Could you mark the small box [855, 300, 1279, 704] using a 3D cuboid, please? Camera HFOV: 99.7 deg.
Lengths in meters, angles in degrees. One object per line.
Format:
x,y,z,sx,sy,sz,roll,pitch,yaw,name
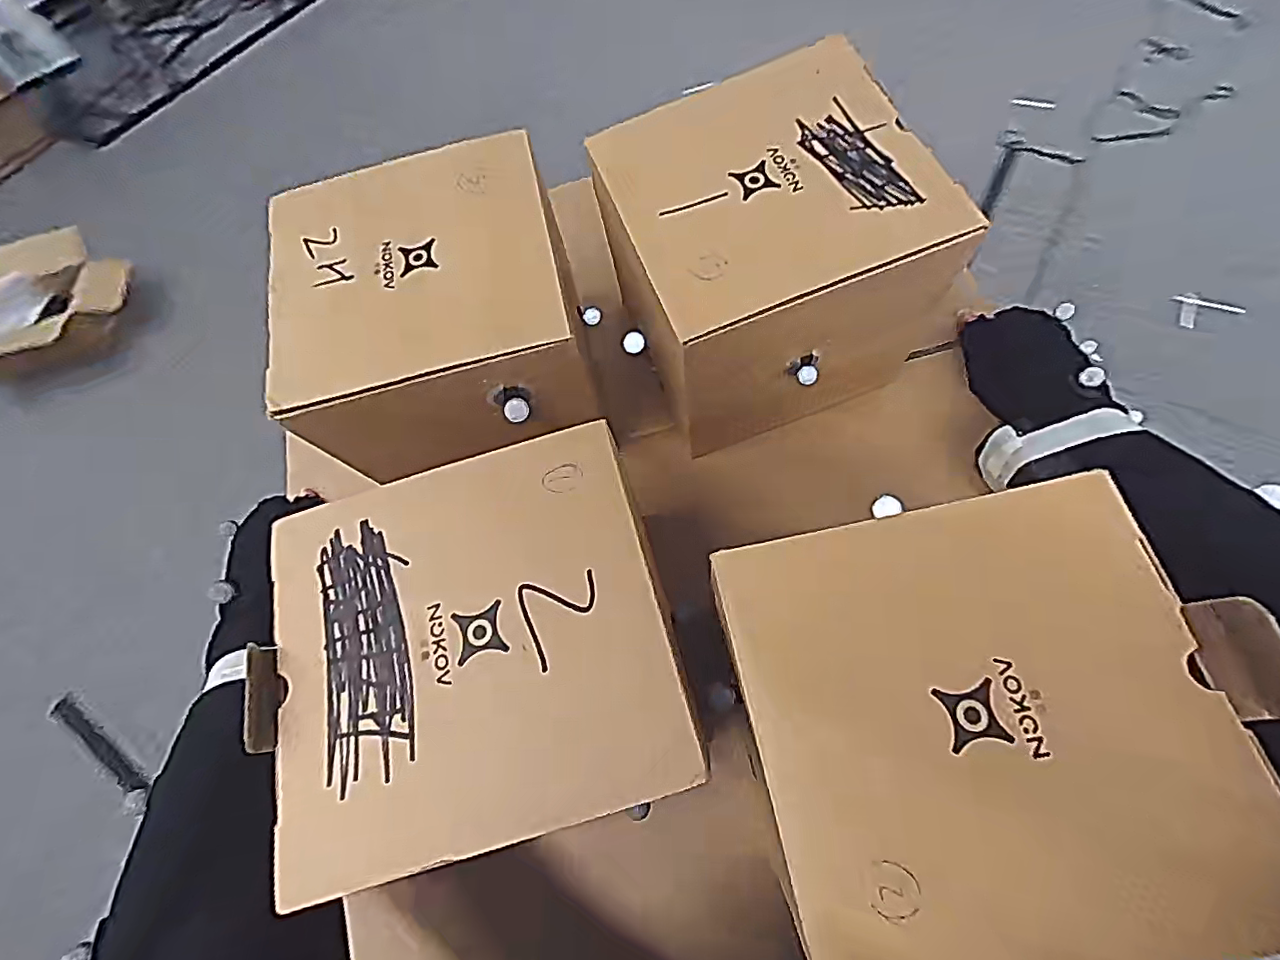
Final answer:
0.231,0.020,0.291,0.179,0.176,0.168,1,76,7,small box
